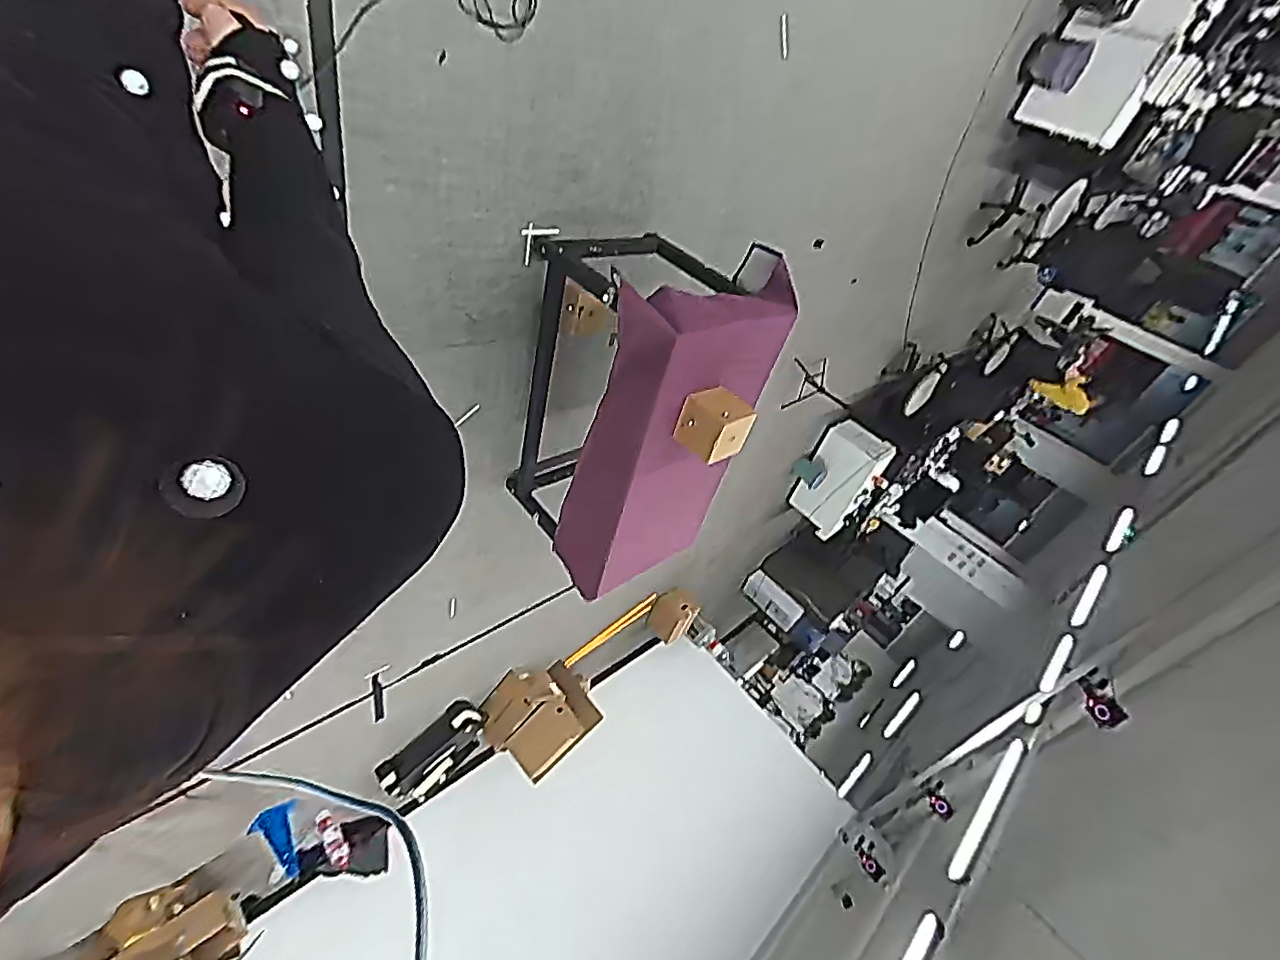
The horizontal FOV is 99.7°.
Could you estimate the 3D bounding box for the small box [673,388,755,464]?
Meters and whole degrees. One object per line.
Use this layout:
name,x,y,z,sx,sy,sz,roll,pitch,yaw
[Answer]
small box,0.239,-0.185,1.776,0.179,0.176,0.168,-22,144,-38
